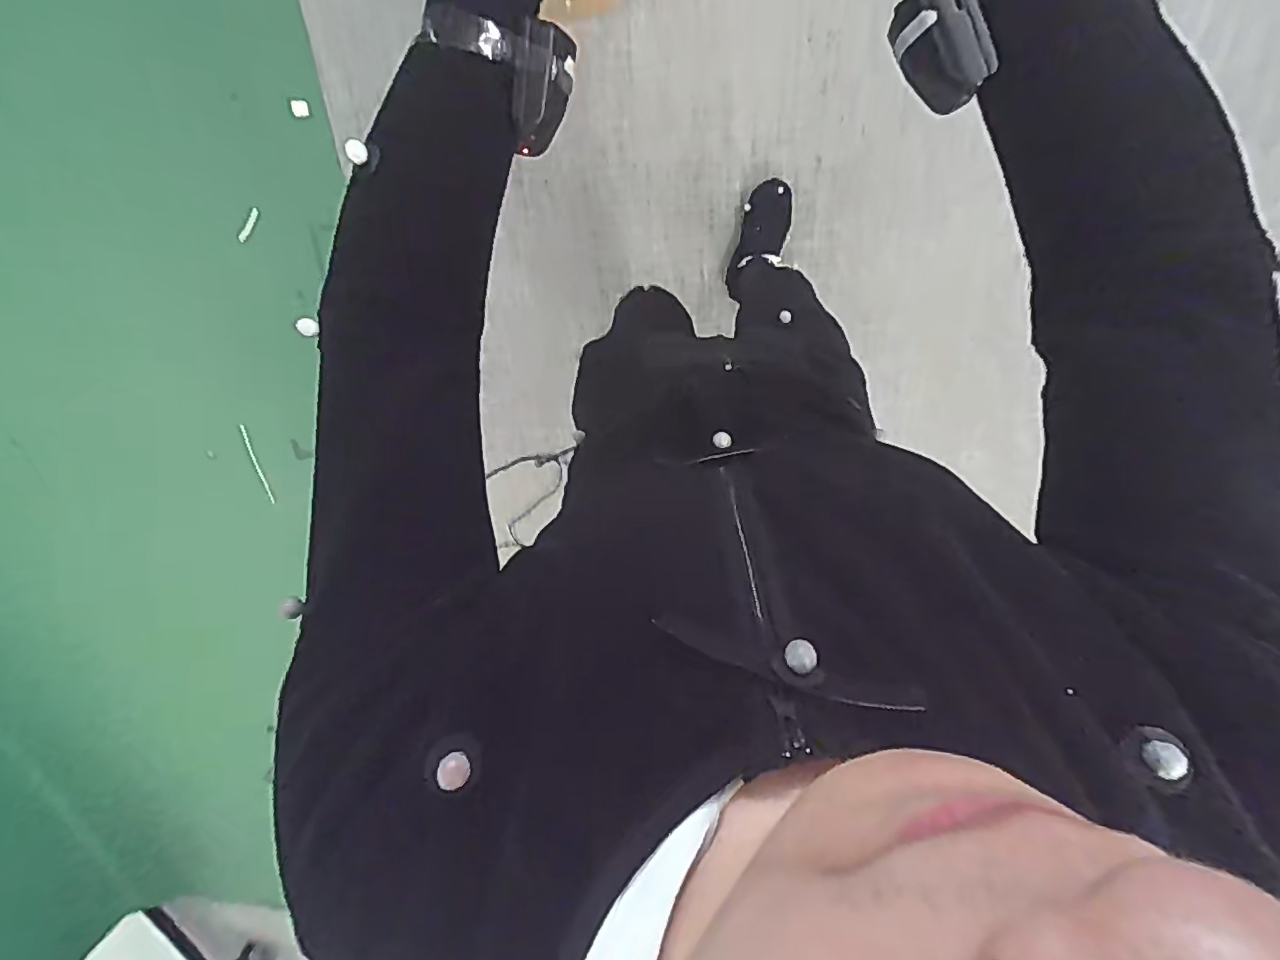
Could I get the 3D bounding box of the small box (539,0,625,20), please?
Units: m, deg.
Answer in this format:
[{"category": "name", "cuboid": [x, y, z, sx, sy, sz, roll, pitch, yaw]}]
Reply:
[{"category": "small box", "cuboid": [-0.135, -1.085, 1.115, 0.179, 0.176, 0.168, -1, 117, 9]}]
